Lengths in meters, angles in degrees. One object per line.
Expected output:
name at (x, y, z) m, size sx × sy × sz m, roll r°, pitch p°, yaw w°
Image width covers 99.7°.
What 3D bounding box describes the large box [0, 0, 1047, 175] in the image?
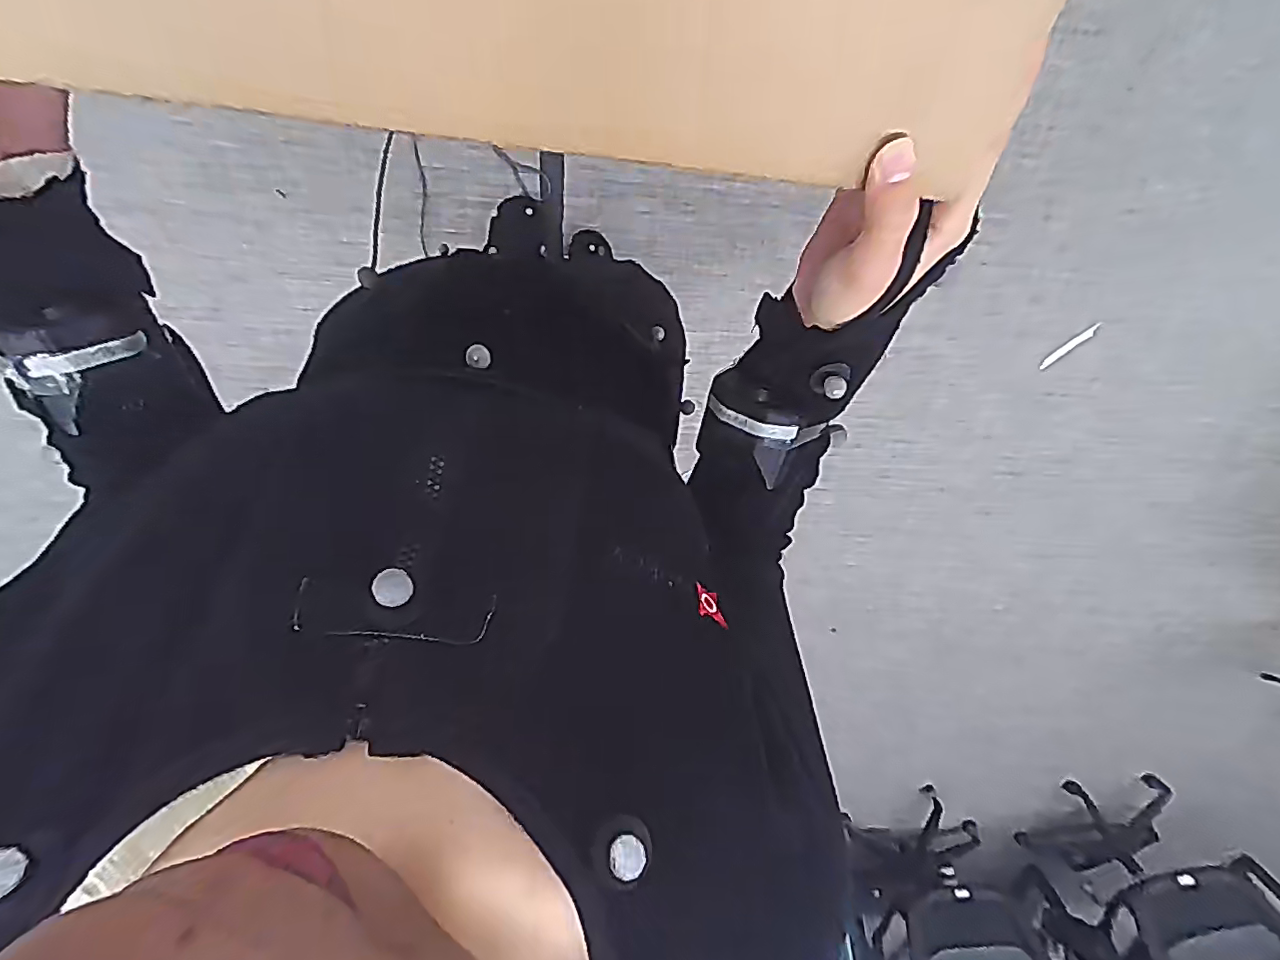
large box at (-0.049, -0.351, 0.205) m, size 0.408 × 0.320 × 0.320 m, roll 3°, pitch 138°, yaw -5°
